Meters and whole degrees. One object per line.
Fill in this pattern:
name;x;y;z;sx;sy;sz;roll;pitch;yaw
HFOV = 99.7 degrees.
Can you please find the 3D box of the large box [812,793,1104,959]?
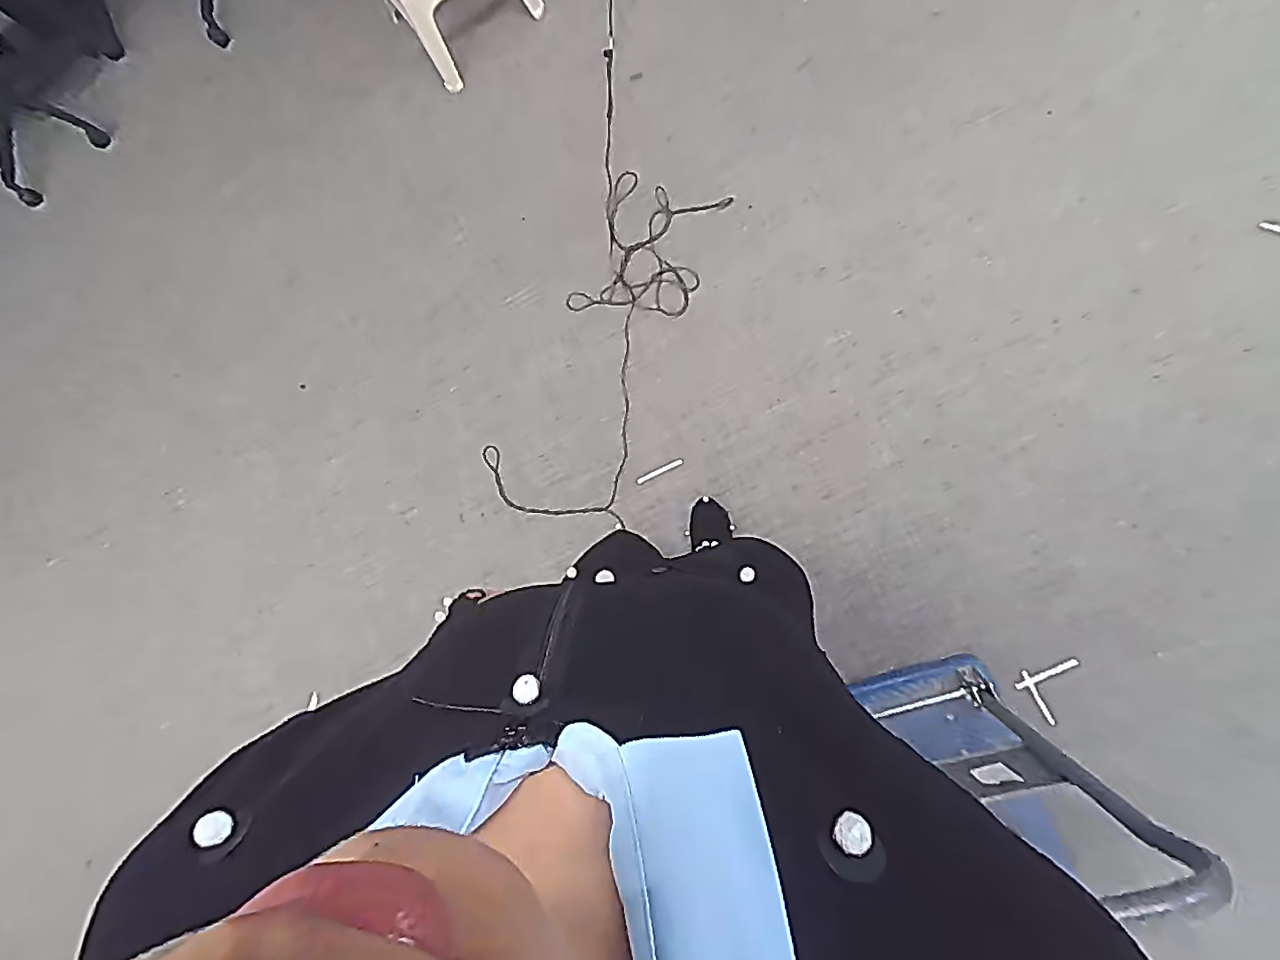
large box;0.601;0.879;1.049;0.408;0.320;0.320;-19;84;7
